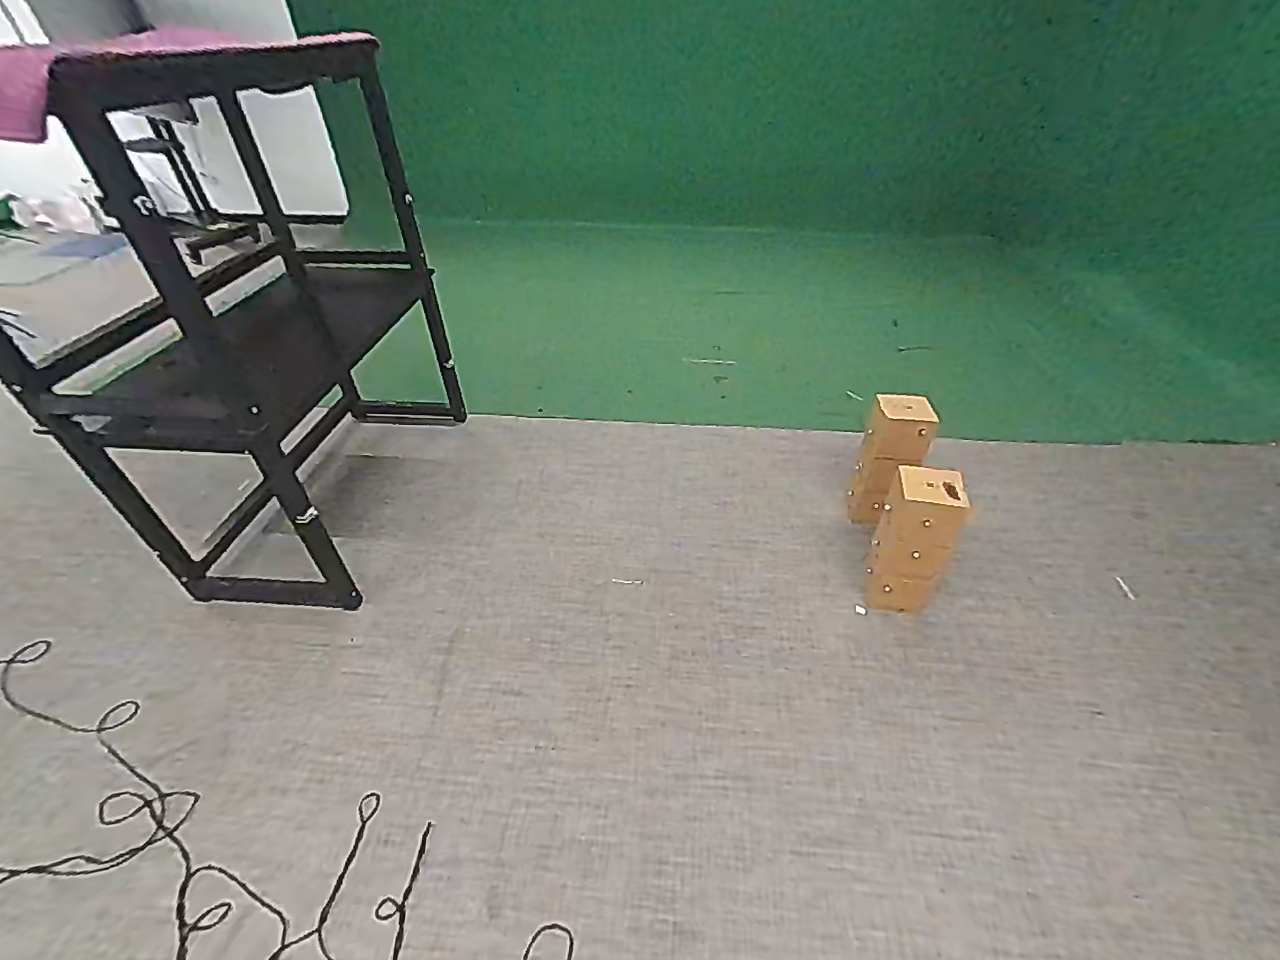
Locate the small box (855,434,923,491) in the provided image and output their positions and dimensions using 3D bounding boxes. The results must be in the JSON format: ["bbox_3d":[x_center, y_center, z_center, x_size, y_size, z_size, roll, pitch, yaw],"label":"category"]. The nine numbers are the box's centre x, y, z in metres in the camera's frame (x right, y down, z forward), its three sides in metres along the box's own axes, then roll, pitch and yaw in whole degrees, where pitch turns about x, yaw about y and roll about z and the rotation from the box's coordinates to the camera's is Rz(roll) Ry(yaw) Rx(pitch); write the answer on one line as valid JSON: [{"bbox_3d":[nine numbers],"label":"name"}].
[{"bbox_3d":[0.935,-0.070,2.048,0.179,0.176,0.168,3,40,5],"label":"small box"}]

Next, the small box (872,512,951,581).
[{"bbox_3d":[0.865,0.203,1.737,0.179,0.176,0.168,8,42,10],"label":"small box"}]

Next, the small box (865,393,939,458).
[{"bbox_3d":[0.931,-0.193,1.938,0.179,0.176,0.168,4,40,5],"label":"small box"}]

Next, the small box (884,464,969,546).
[{"bbox_3d":[0.855,0.078,1.630,0.179,0.176,0.168,8,42,12],"label":"small box"}]

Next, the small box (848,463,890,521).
[{"bbox_3d":[0.938,0.051,2.157,0.179,0.176,0.168,5,42,8],"label":"small box"}]
